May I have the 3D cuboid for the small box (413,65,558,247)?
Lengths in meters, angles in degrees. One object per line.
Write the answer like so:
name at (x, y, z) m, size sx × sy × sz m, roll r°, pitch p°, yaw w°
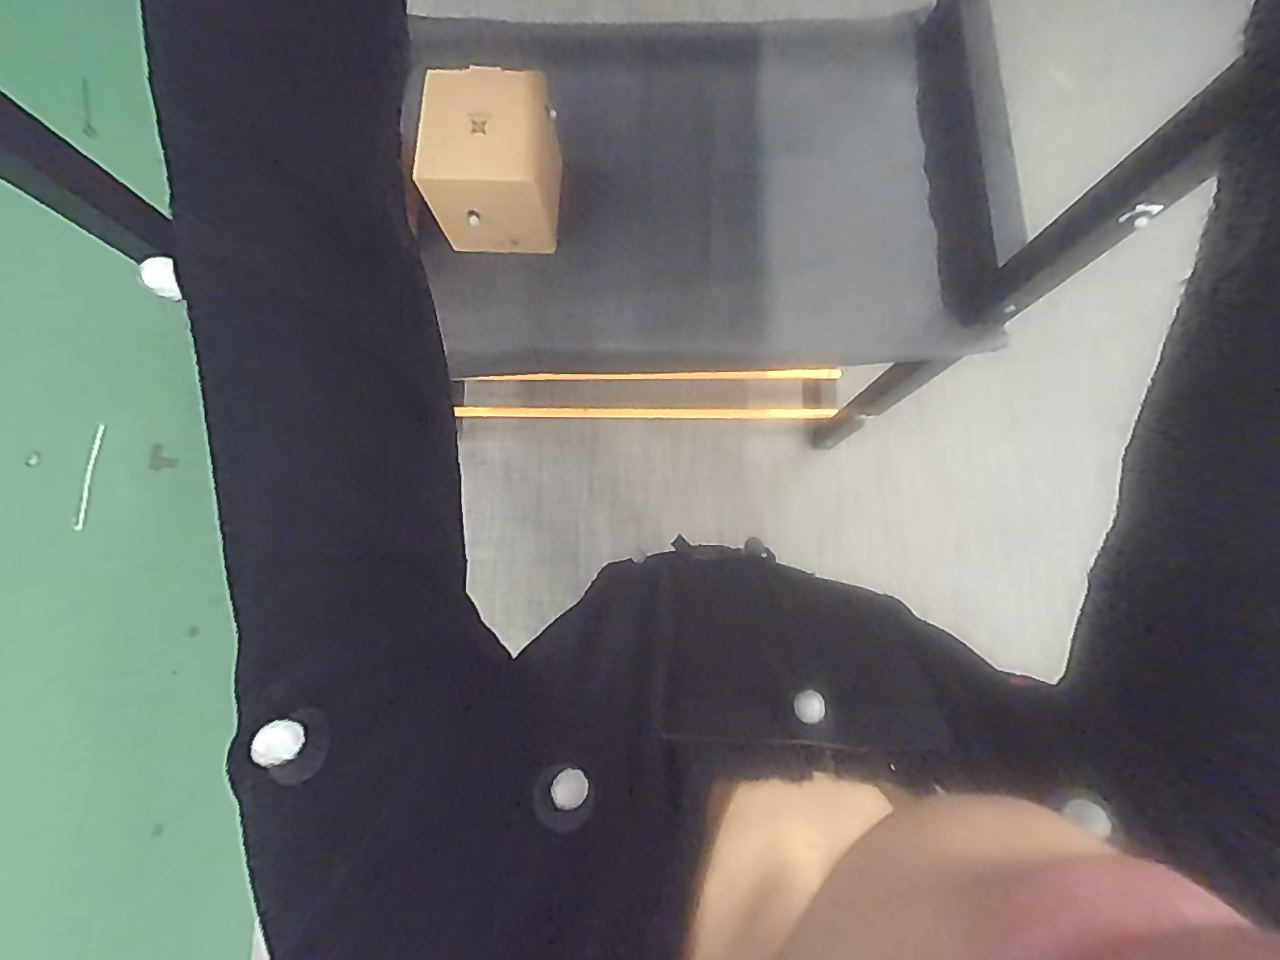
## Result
small box at (-0.219, -0.474, 0.811) m, size 0.168 × 0.176 × 0.179 m, roll 2°, pitch 79°, yaw 0°
